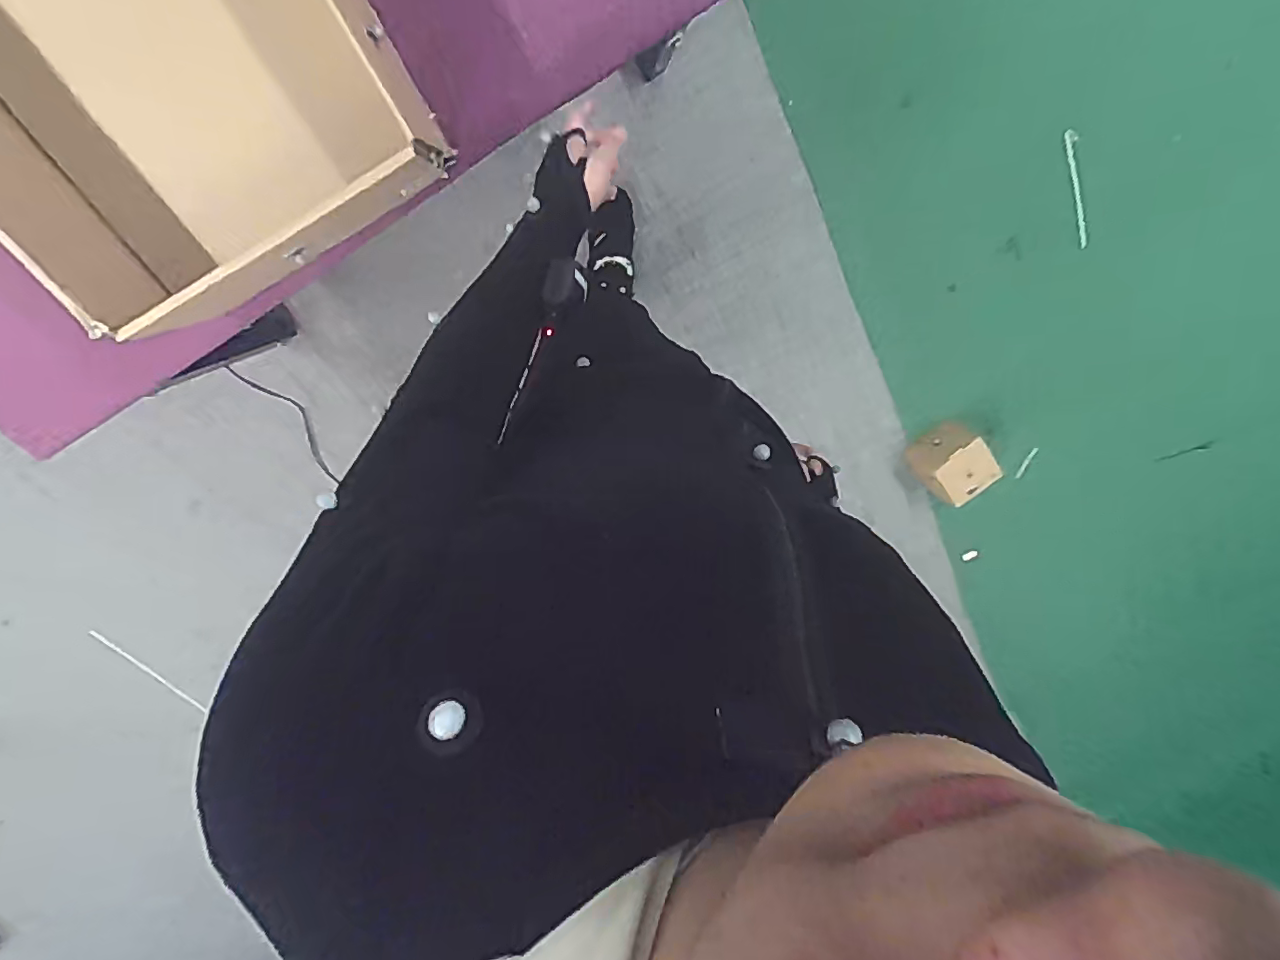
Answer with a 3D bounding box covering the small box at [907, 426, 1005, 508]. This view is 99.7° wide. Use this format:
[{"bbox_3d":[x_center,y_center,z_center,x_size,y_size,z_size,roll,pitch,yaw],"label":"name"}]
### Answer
[{"bbox_3d":[0.978,-0.051,1.689,0.168,0.176,0.179,-40,112,11],"label":"small box"}]
